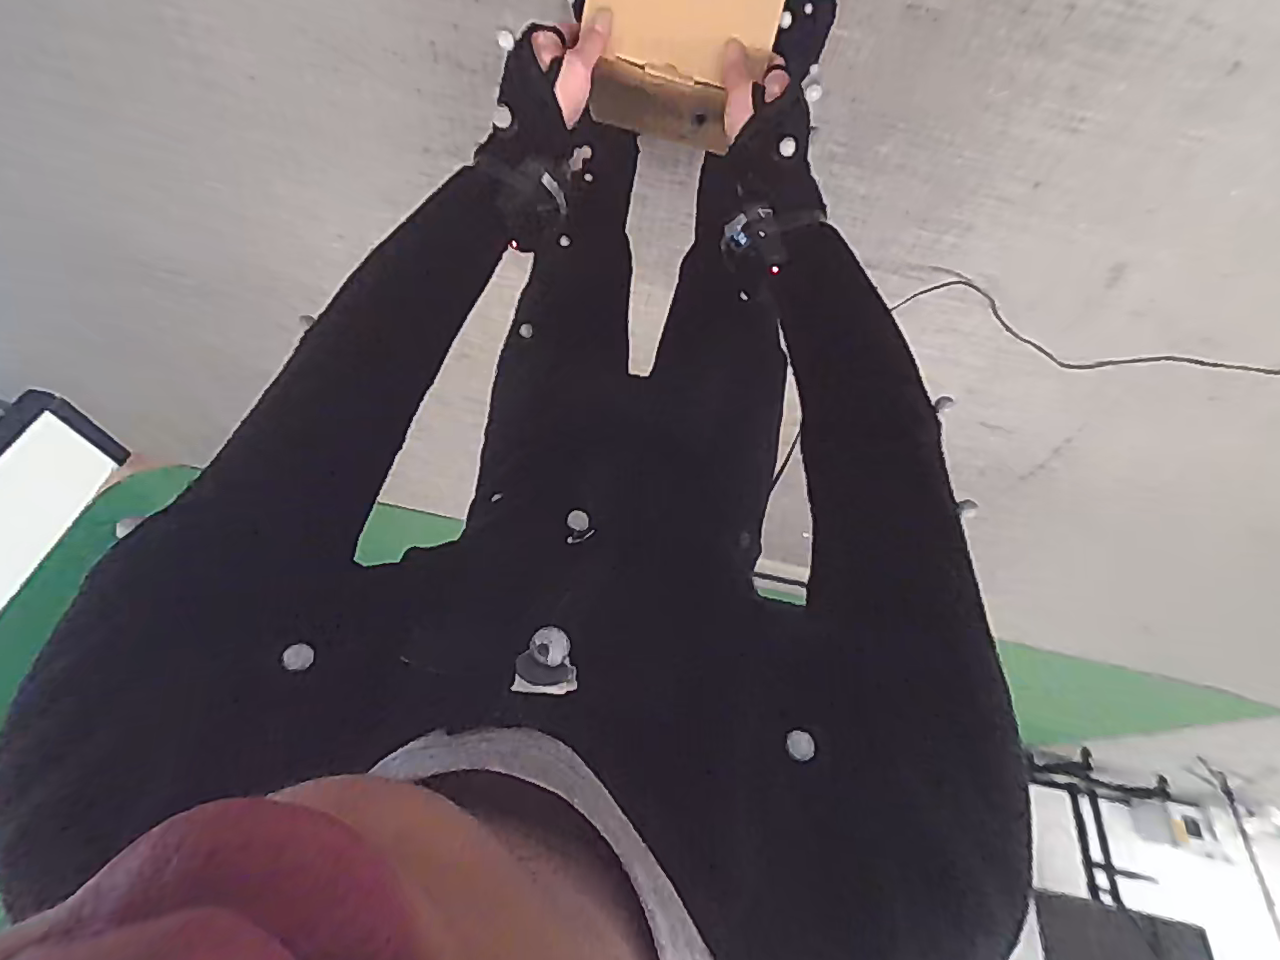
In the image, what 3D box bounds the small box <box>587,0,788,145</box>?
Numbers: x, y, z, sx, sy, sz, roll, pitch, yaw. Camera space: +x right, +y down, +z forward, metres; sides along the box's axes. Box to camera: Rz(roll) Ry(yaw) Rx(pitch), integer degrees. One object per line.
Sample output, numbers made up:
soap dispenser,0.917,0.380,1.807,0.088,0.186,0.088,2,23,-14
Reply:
small box,0.051,-0.464,0.532,0.168,0.176,0.179,13,105,-5
